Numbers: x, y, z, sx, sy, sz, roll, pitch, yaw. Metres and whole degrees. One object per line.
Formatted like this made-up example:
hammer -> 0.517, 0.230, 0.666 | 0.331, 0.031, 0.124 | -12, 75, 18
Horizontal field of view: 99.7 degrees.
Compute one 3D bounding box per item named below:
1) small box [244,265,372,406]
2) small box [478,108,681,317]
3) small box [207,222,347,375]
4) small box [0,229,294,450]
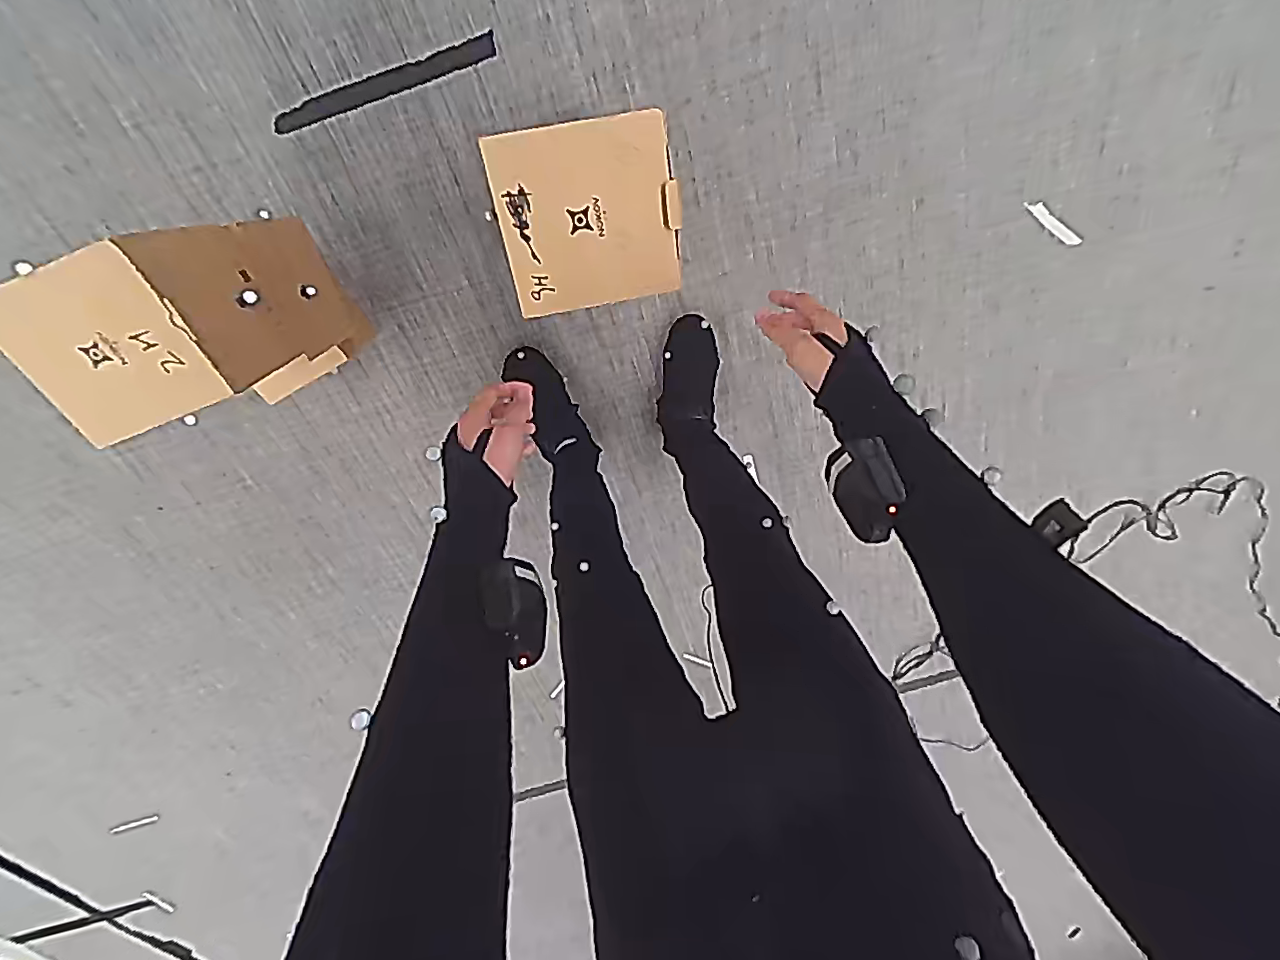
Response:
small box -> -0.597, -0.259, 0.916 | 0.168, 0.176, 0.179 | -27, 119, 8
small box -> -0.064, -0.293, 0.595 | 0.179, 0.176, 0.168 | -12, 119, -4
small box -> -0.544, -0.245, 0.743 | 0.168, 0.176, 0.179 | -14, 120, 1
small box -> -0.540, -0.162, 0.601 | 0.179, 0.176, 0.168 | -20, 119, 4
